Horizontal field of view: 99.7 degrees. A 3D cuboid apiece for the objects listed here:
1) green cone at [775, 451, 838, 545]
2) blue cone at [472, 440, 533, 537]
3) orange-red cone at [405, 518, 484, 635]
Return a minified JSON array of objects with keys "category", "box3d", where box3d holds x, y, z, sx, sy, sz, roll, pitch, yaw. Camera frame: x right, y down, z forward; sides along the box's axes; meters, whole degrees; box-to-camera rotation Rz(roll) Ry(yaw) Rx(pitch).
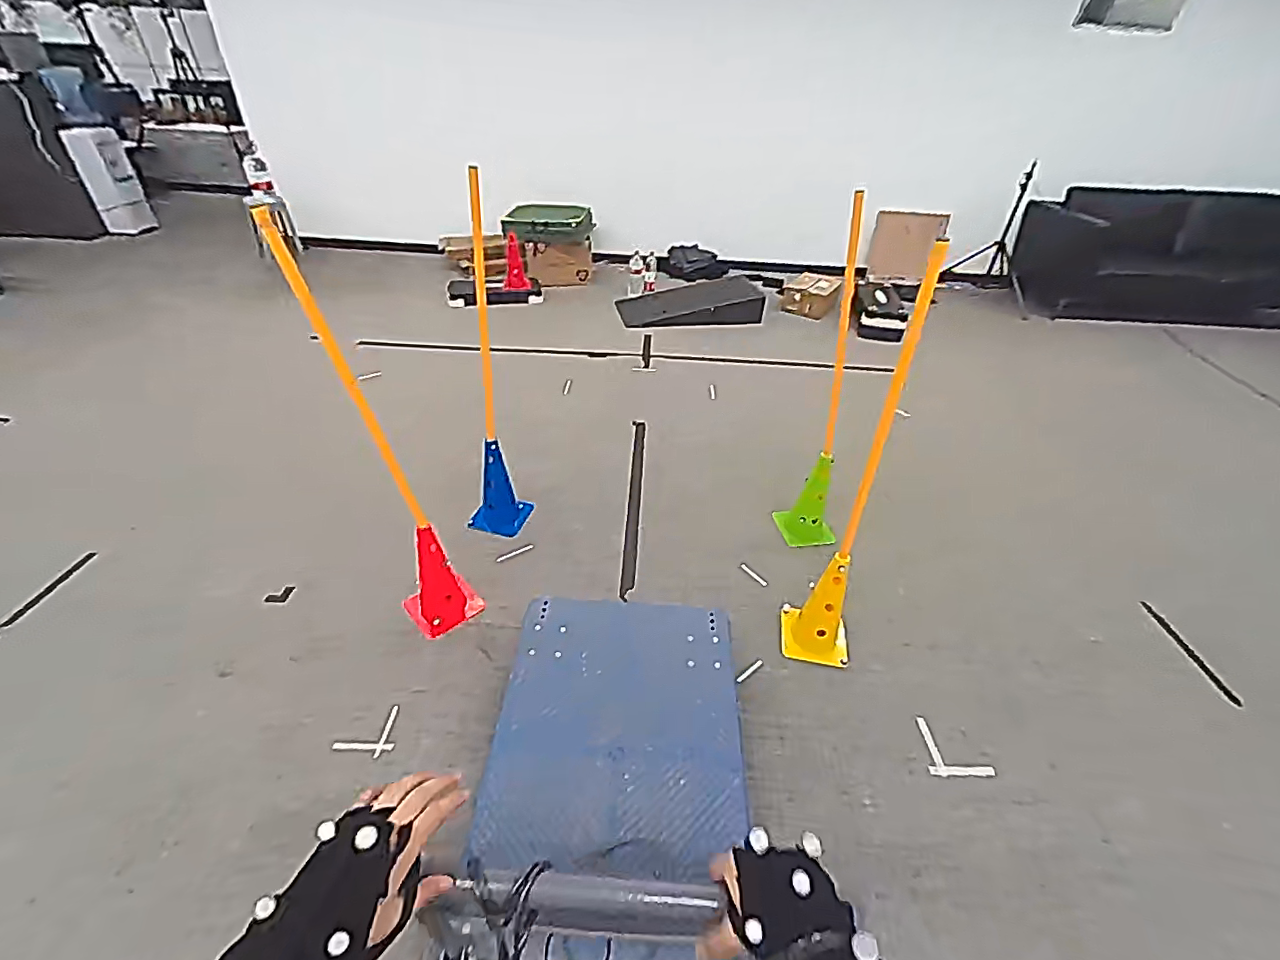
[{"category":"green cone","box3d":[0.659,0.046,2.019,0.200,0.368,0.202,-5,39,-11]},{"category":"blue cone","box3d":[-0.522,0.012,1.993,0.193,0.380,0.192,13,39,12]},{"category":"orange-red cone","box3d":[-0.617,0.258,1.637,0.199,0.360,0.198,-26,47,-35]}]
